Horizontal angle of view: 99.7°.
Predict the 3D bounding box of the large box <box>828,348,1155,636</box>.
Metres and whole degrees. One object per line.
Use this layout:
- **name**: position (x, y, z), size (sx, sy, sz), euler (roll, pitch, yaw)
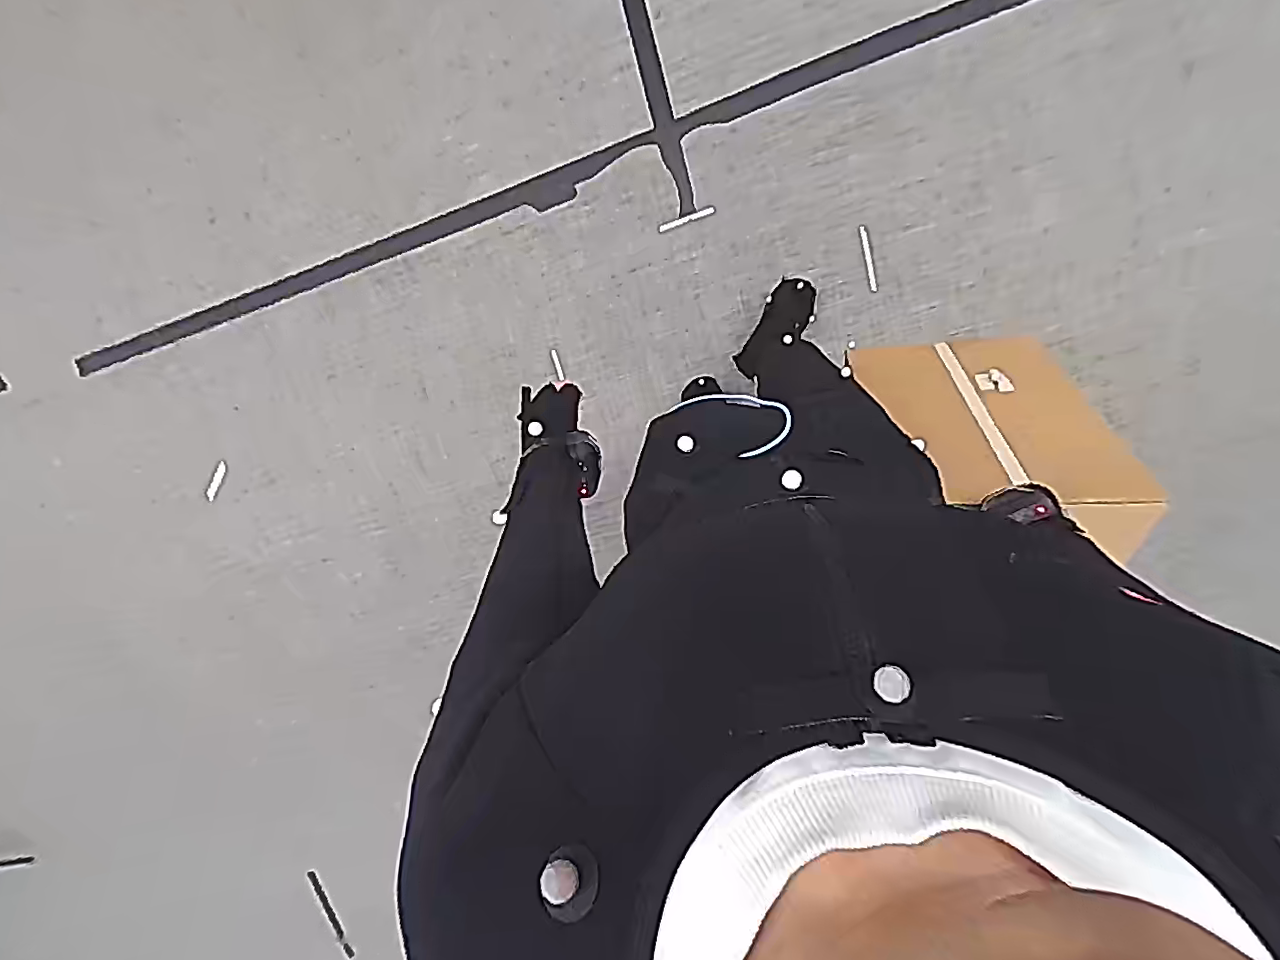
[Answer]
- **large box**: position (0.527, 0.014, 0.931), size (0.320, 0.408, 0.320), euler (-1, 131, 9)
